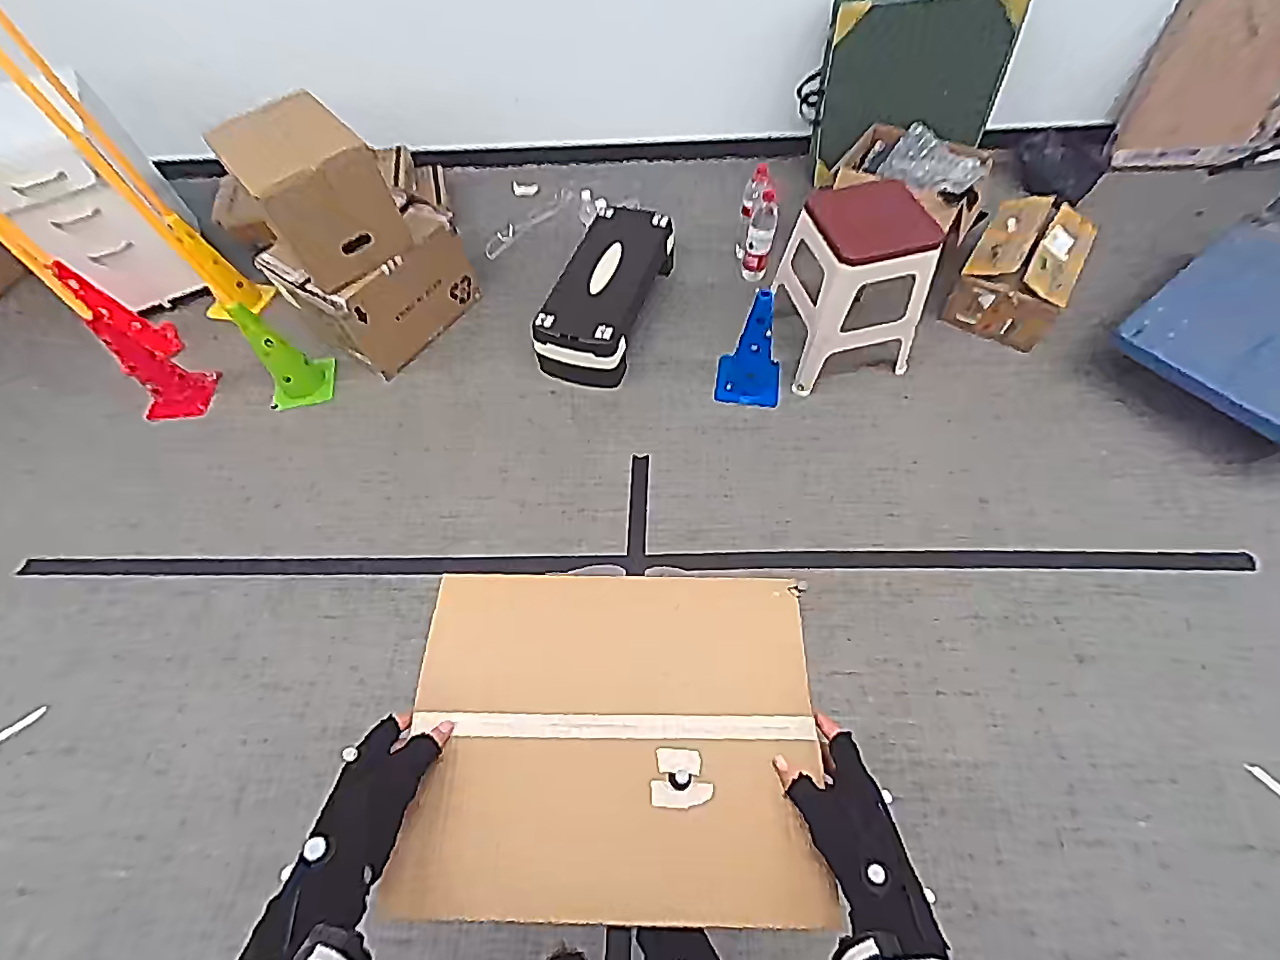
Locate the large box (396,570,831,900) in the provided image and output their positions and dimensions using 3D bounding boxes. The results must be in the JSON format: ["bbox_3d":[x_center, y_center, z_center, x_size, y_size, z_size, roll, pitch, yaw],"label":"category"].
[{"bbox_3d":[-0.025,0.315,0.688,0.408,0.320,0.320,1,61,0],"label":"large box"}]
